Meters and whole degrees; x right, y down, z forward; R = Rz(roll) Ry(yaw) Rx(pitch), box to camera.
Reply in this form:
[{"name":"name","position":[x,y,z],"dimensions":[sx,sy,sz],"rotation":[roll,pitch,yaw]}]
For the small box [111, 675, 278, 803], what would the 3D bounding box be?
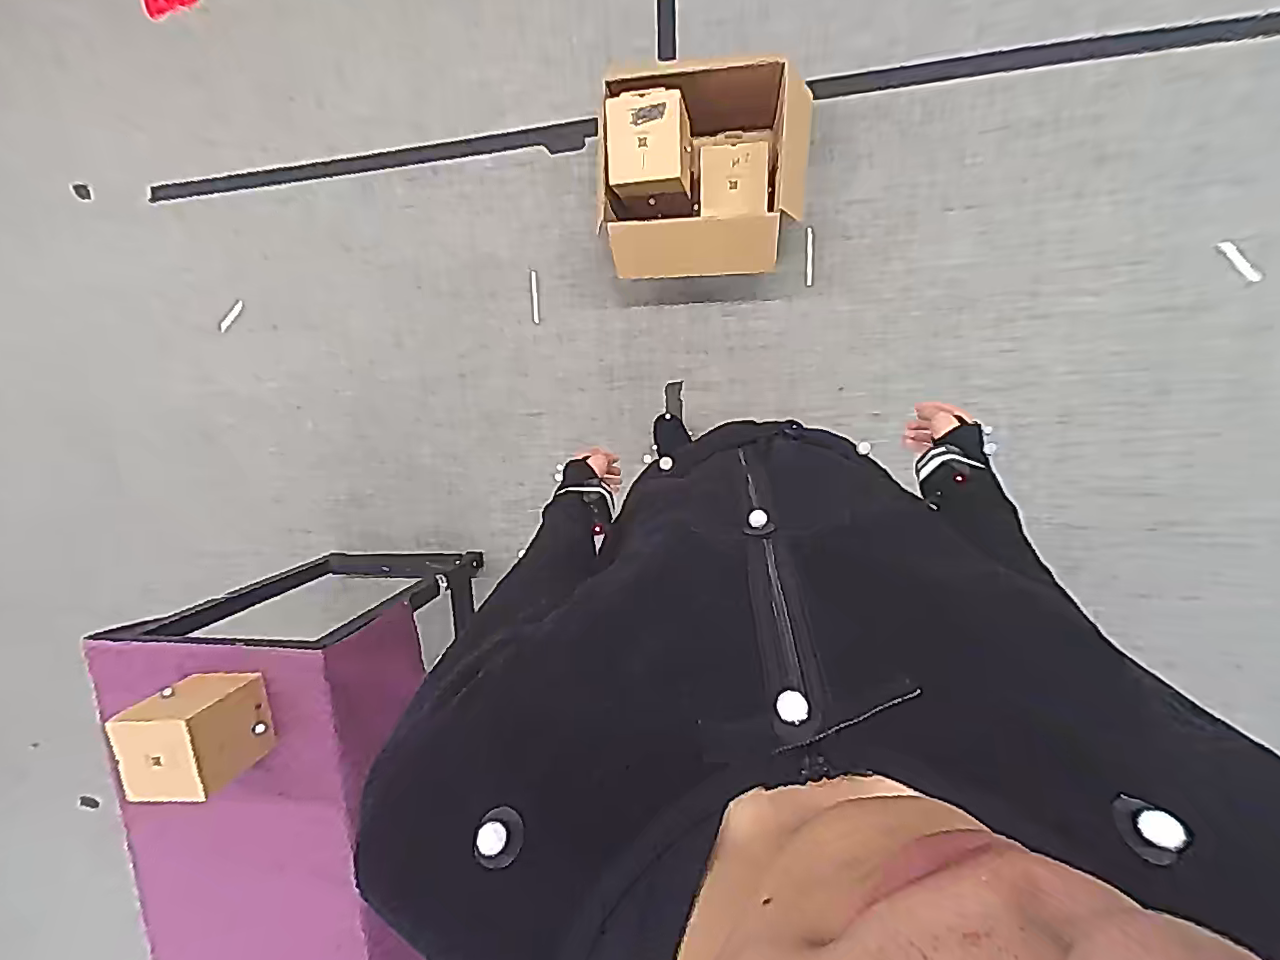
[{"name":"small box","position":[-0.868,0.501,1.067],"dimensions":[0.179,0.176,0.168],"rotation":[-5,99,11]}]
